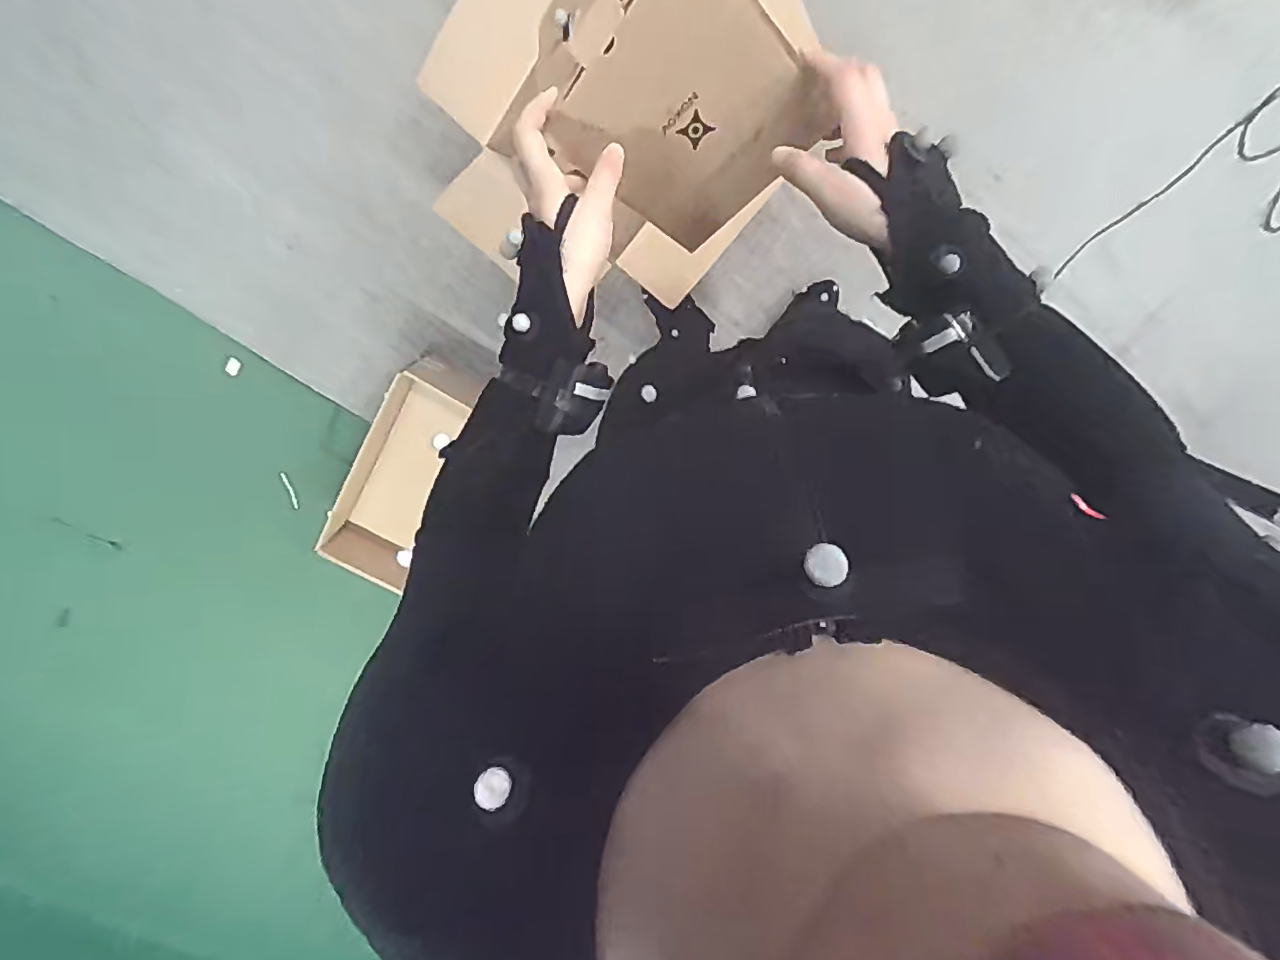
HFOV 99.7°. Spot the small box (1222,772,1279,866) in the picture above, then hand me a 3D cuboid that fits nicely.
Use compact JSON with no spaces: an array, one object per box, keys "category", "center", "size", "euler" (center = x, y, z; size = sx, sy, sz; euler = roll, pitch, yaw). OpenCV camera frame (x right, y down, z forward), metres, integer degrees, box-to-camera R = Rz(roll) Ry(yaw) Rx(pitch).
[{"category":"small box","center":[1.194,0.628,0.930],"size":[0.179,0.176,0.168],"euler":[36,110,-15]}]

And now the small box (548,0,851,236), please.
[{"category":"small box","center":[0.039,-0.355,0.448],"size":[0.179,0.176,0.168],"euler":[18,146,-38]}]
